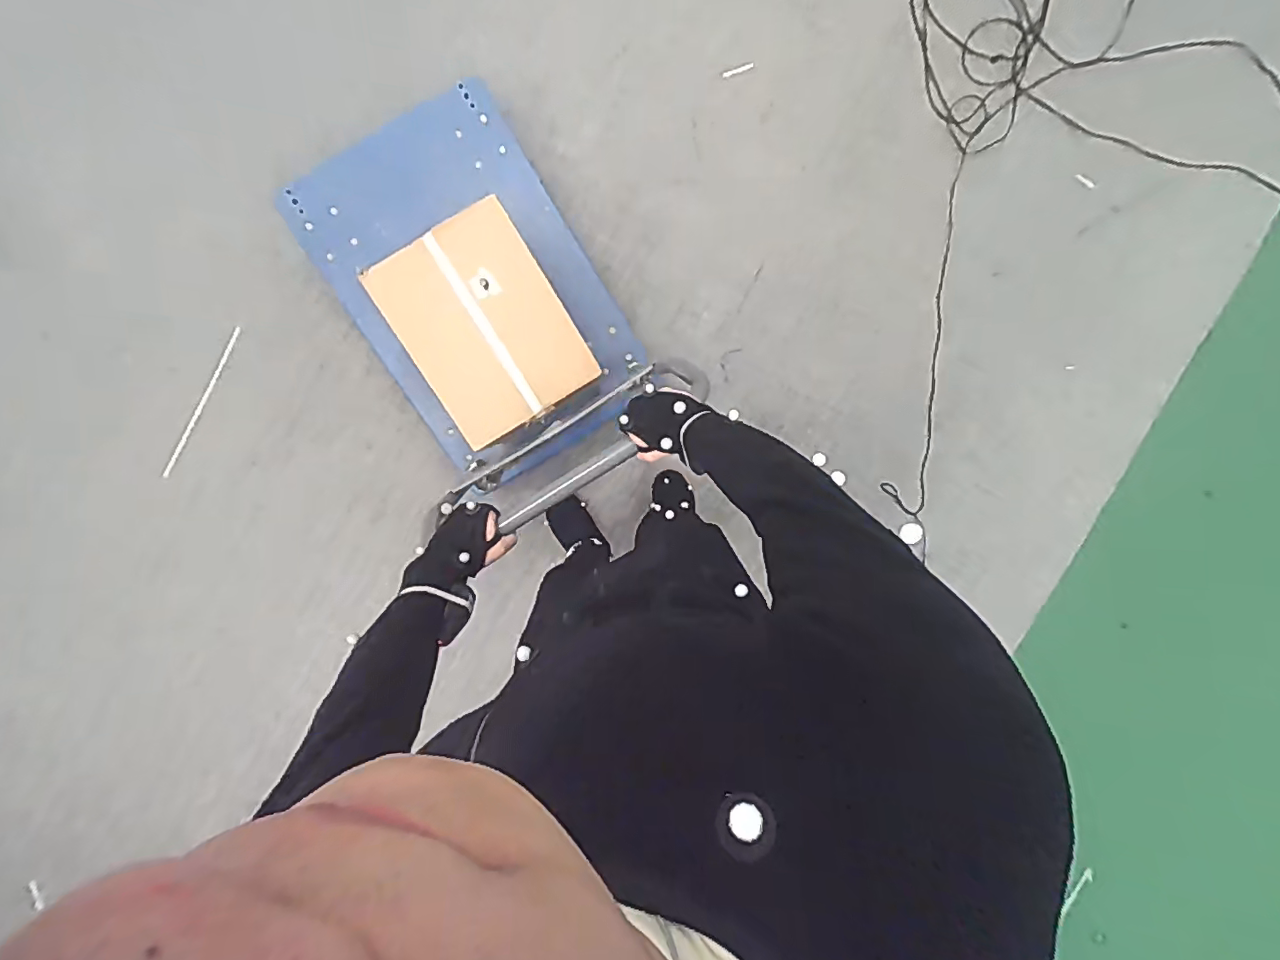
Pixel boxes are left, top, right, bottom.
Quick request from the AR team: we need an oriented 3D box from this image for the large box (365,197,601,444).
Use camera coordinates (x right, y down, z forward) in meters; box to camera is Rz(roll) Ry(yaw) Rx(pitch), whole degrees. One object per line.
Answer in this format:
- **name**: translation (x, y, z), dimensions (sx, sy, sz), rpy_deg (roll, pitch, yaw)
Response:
- **large box**: translation (-0.322, -0.335, 1.241), dimensions (0.320, 0.320, 0.408), rpy_deg (-32, 99, -1)
